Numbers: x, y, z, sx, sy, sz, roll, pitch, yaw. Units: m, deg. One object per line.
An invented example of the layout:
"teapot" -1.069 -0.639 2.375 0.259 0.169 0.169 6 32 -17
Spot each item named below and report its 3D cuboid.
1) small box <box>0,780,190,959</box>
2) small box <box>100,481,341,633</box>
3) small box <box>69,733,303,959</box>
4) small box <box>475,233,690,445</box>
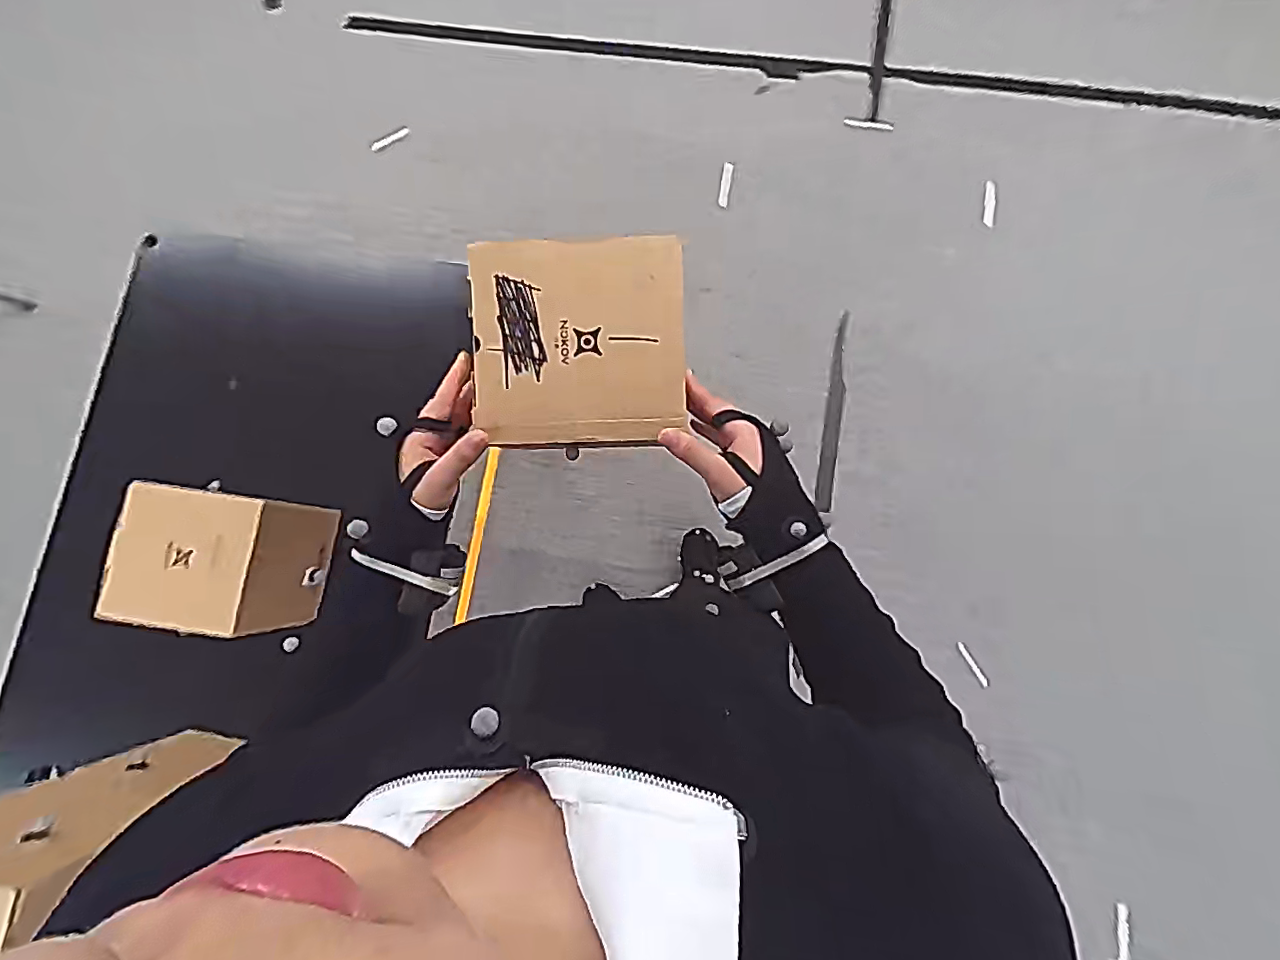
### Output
"small box" -0.591 0.411 0.516 0.179 0.176 0.168 6 81 3
"small box" -0.548 0.103 0.732 0.179 0.176 0.168 7 83 3
"small box" -0.574 0.436 0.678 0.179 0.176 0.168 9 82 4
"small box" -0.044 -0.119 0.517 0.179 0.176 0.168 -1 92 1
